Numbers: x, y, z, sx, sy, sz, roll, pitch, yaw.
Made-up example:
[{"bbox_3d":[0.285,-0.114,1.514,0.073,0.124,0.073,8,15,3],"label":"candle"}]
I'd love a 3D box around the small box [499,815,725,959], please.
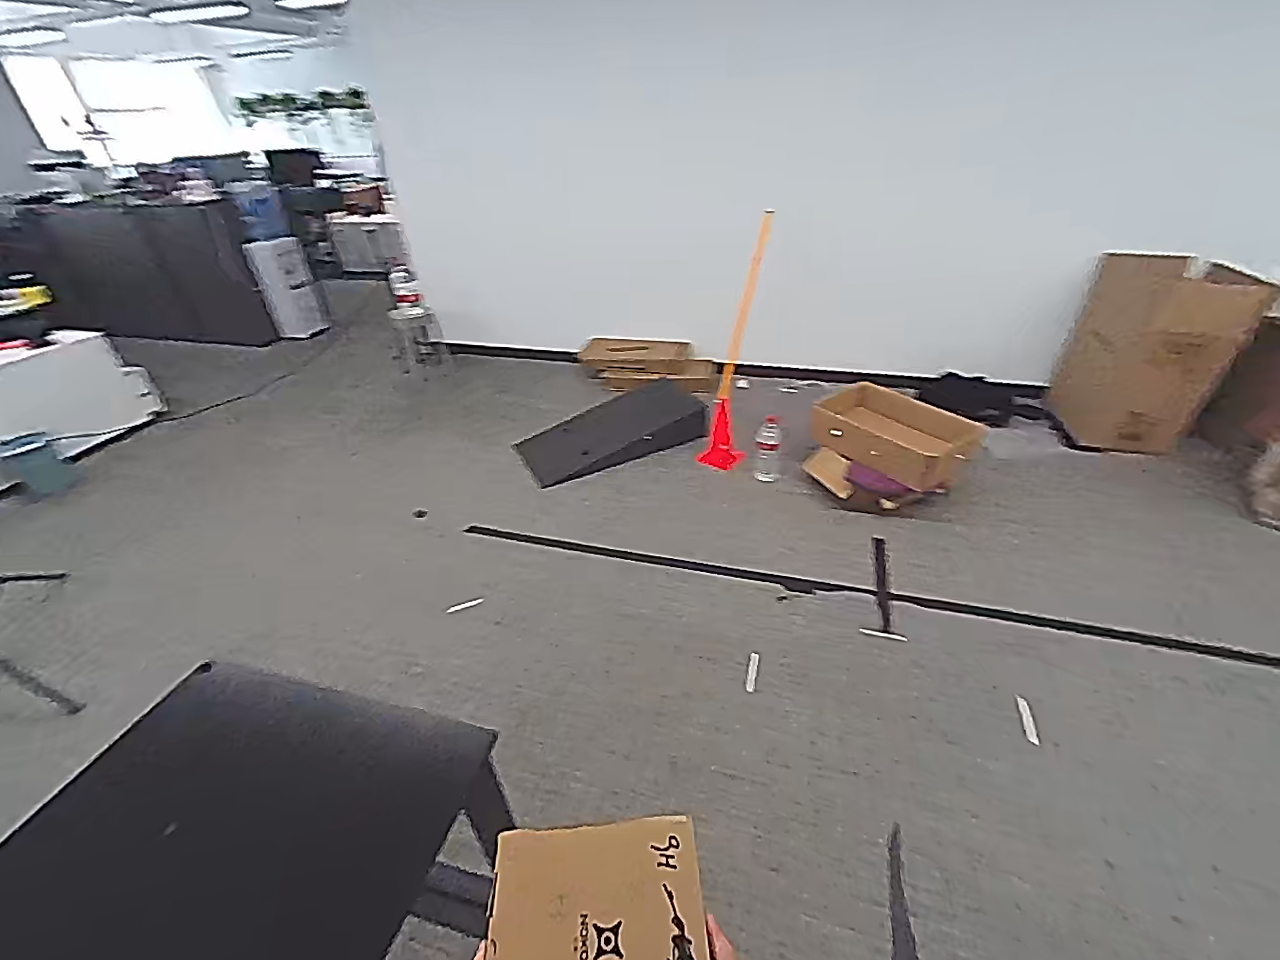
[{"bbox_3d":[-0.018,0.417,0.469,0.179,0.176,0.168,-4,40,-1],"label":"small box"}]
